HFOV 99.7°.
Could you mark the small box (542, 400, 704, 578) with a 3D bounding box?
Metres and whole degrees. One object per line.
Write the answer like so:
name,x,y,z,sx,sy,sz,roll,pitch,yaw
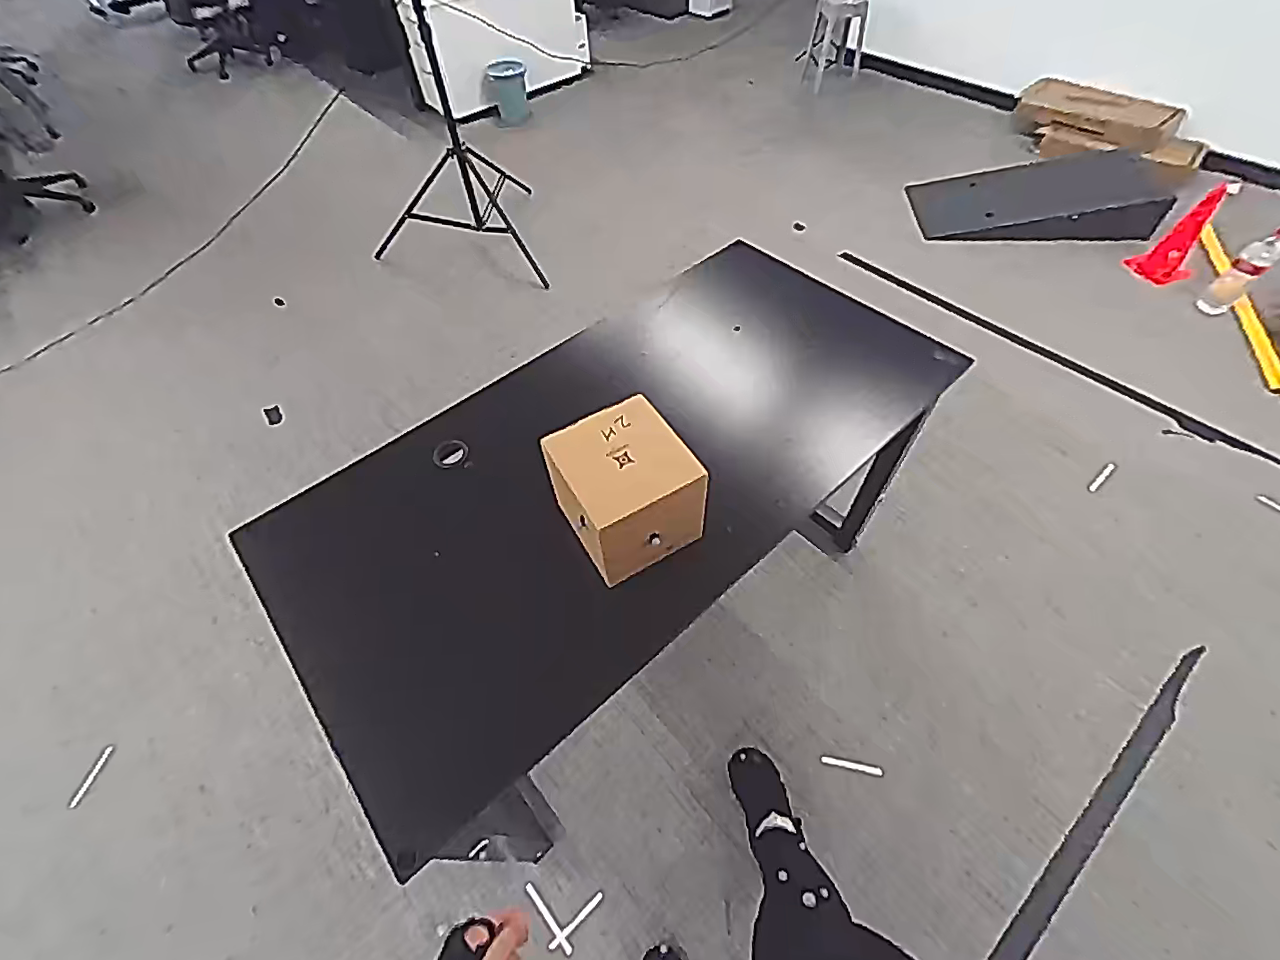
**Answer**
small box,-0.021,0.021,0.795,0.168,0.176,0.179,-26,56,-16
